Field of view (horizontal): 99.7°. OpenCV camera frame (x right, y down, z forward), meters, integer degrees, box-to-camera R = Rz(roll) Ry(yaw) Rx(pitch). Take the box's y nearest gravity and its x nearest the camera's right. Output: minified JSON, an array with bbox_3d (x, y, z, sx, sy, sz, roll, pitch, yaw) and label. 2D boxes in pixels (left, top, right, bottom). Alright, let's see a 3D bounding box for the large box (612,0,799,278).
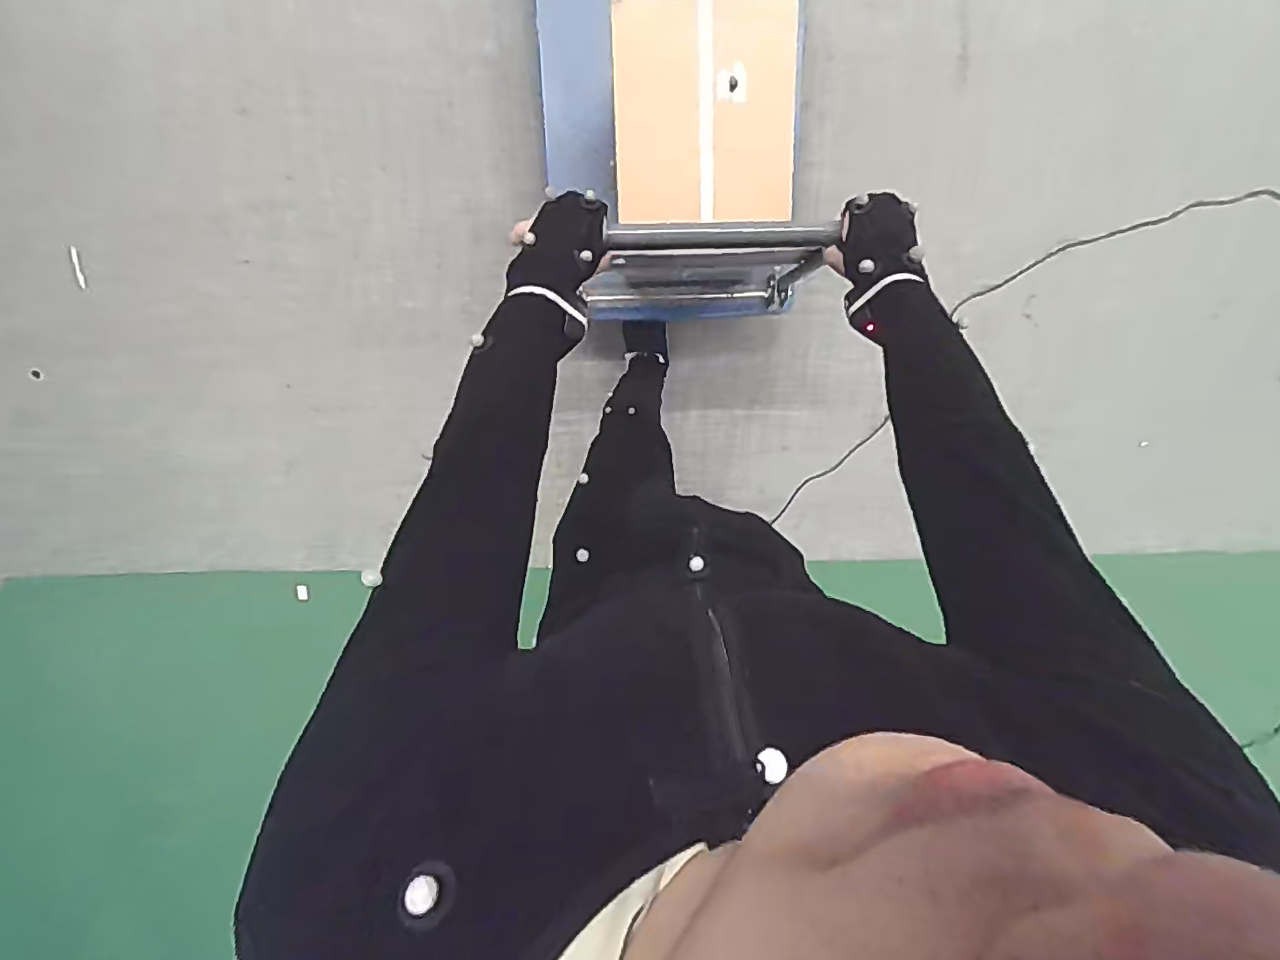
[{"bbox_3d":[0.117,-0.638,1.074,0.320,0.320,0.408,-2,103,-1],"label":"large box"}]
